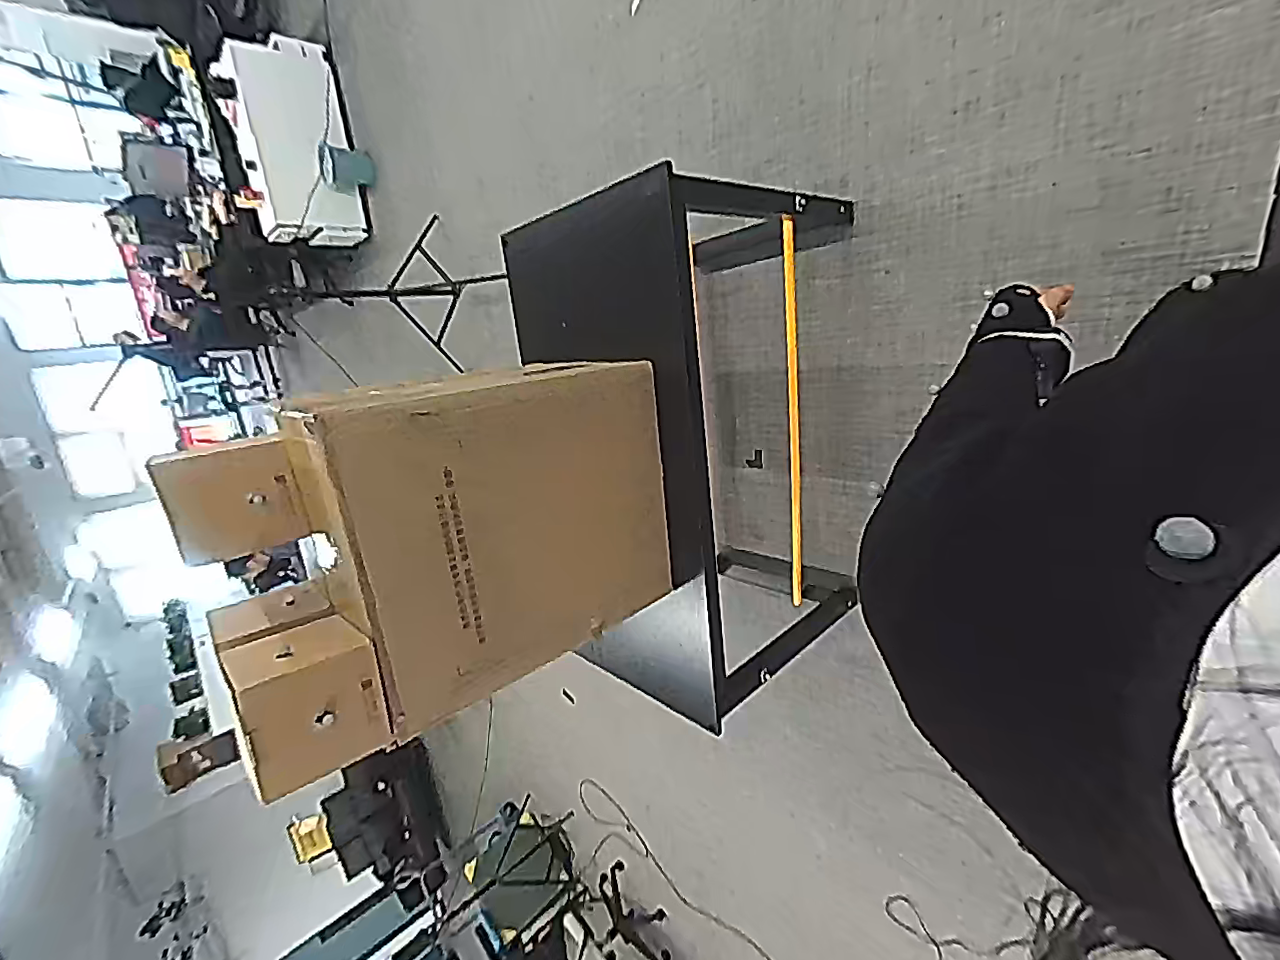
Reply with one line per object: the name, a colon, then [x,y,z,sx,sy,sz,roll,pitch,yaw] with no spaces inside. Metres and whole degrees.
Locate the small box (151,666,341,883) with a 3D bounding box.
small box: [-0.529,0.379,0.738,0.179,0.176,0.168,2,104,45]

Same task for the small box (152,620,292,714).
small box: [-0.667,0.362,0.890,0.168,0.176,0.179,12,112,47]

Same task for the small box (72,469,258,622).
small box: [-0.707,0.086,0.823,0.179,0.176,0.168,9,113,49]
